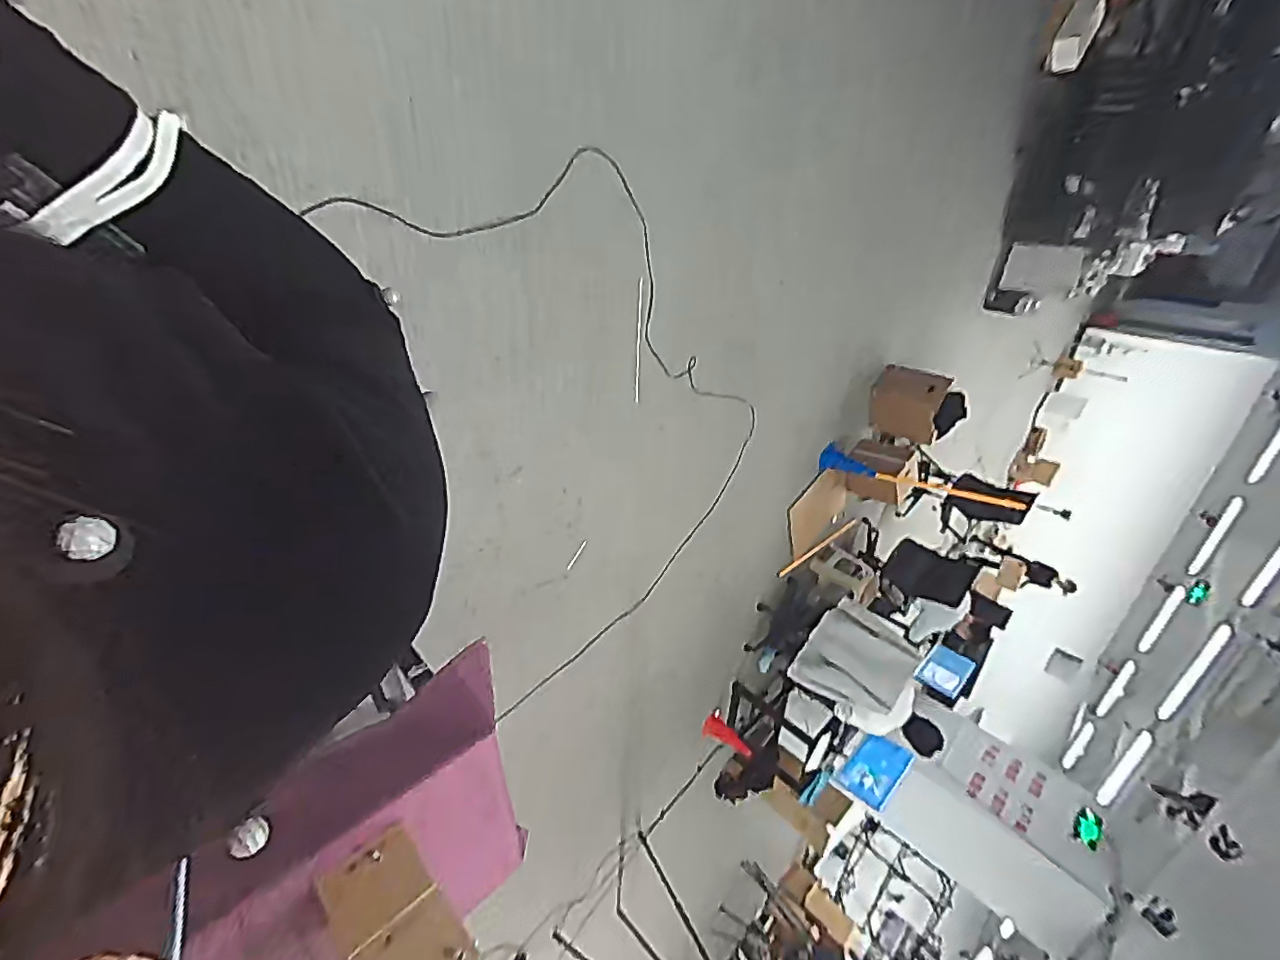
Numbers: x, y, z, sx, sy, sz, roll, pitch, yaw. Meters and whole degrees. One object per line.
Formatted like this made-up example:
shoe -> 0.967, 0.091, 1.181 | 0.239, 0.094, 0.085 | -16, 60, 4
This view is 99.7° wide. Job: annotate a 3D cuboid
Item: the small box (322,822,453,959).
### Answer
small box -> -0.494, 0.827, 1.063 | 0.168, 0.176, 0.179 | -25, 128, -38
